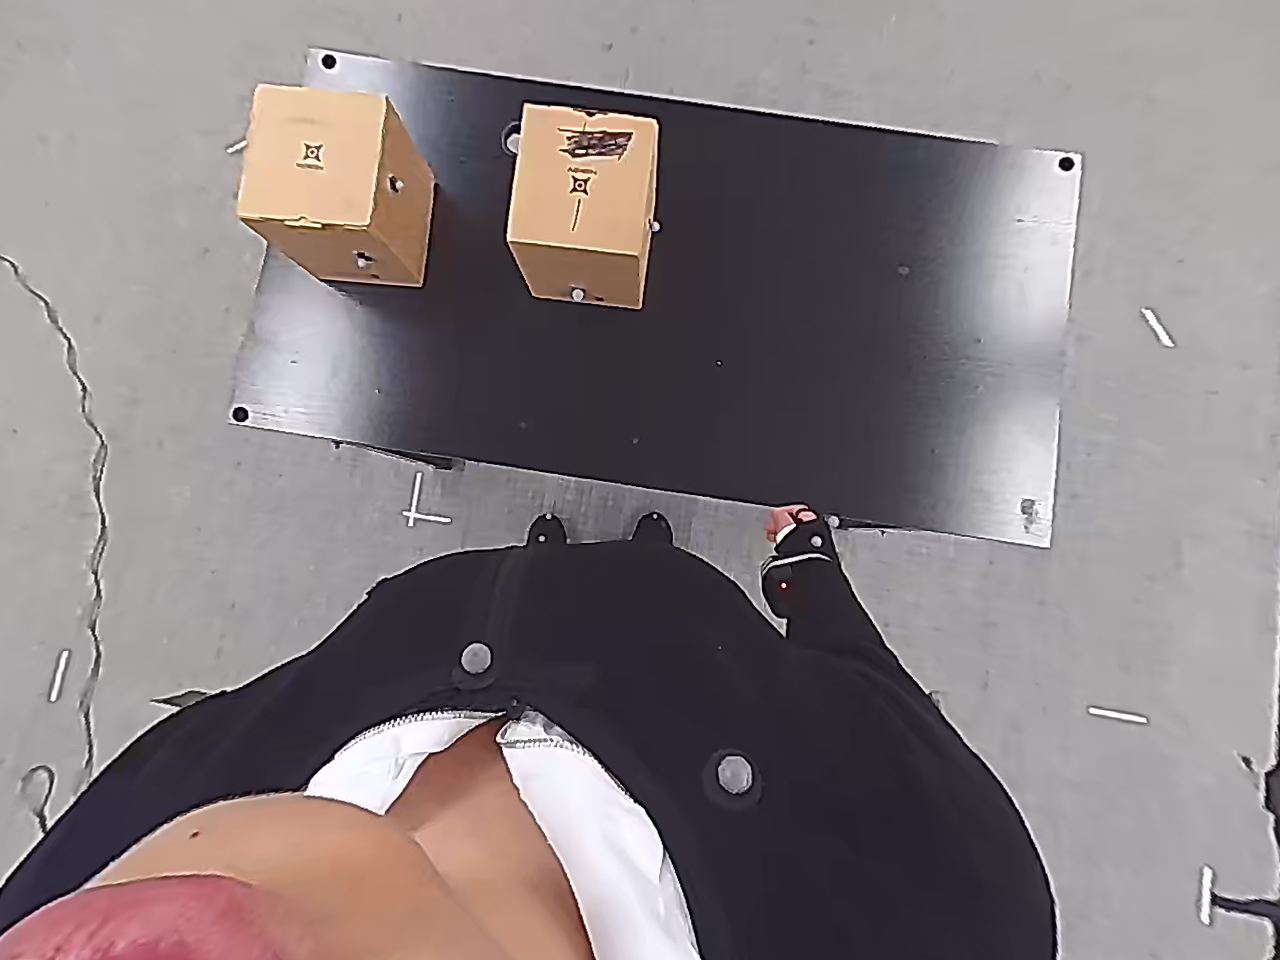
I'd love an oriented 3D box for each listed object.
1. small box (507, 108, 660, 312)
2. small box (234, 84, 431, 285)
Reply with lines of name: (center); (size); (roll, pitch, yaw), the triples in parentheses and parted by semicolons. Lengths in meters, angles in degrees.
small box: (-0.068, -0.351, 0.730); (0.168, 0.176, 0.179); (7, 86, 1)
small box: (-0.399, -0.384, 0.733); (0.168, 0.176, 0.179); (5, 84, -1)
